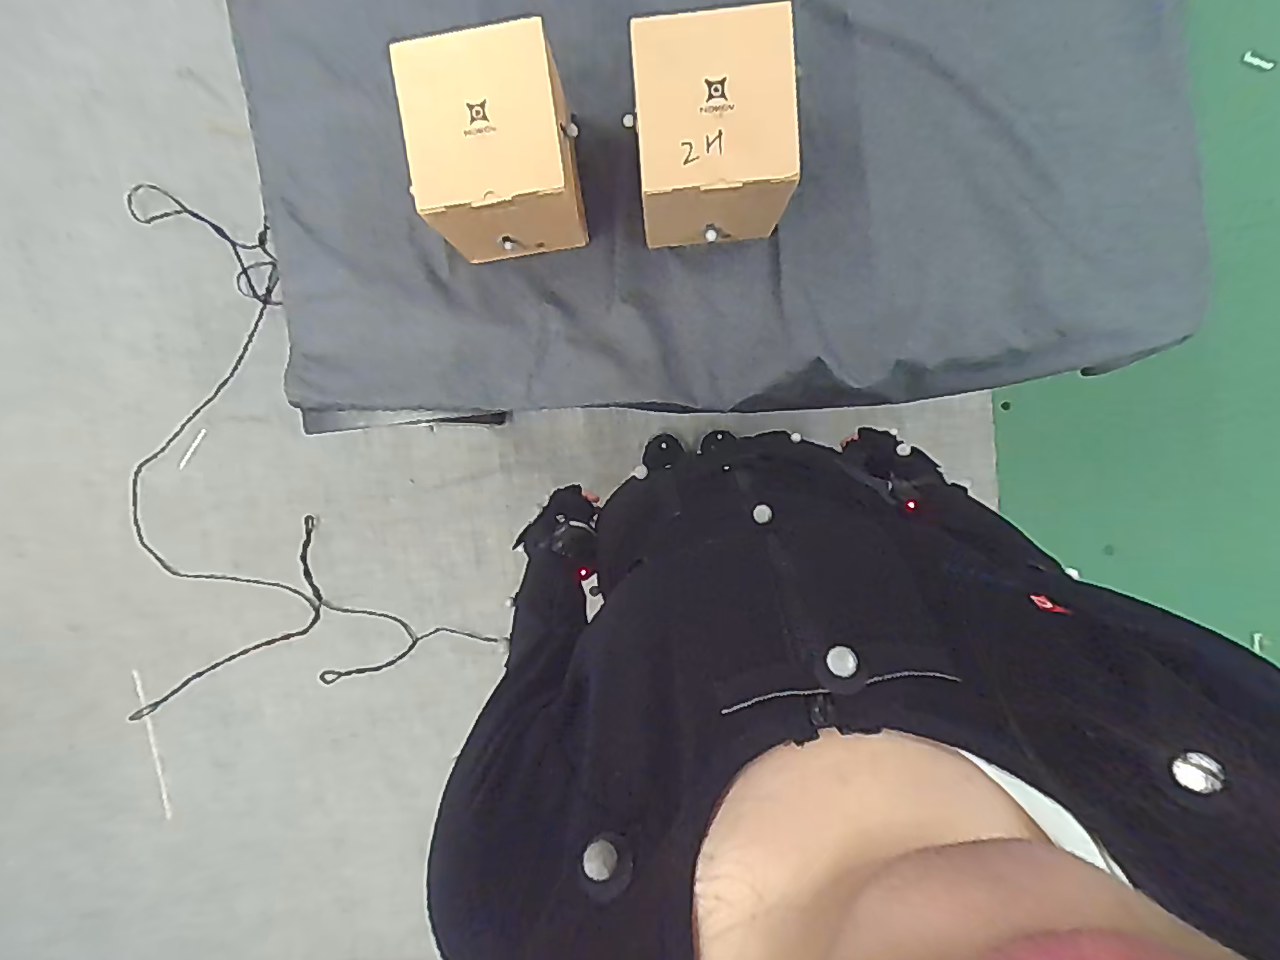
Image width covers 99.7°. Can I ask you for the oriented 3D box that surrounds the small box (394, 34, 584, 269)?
[{"bbox_3d":[-0.168,-0.379,0.655,0.168,0.176,0.179,-8,94,3],"label":"small box"}]

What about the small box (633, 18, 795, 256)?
[{"bbox_3d":[0.079,-0.388,0.641,0.168,0.176,0.179,-4,94,3],"label":"small box"}]
